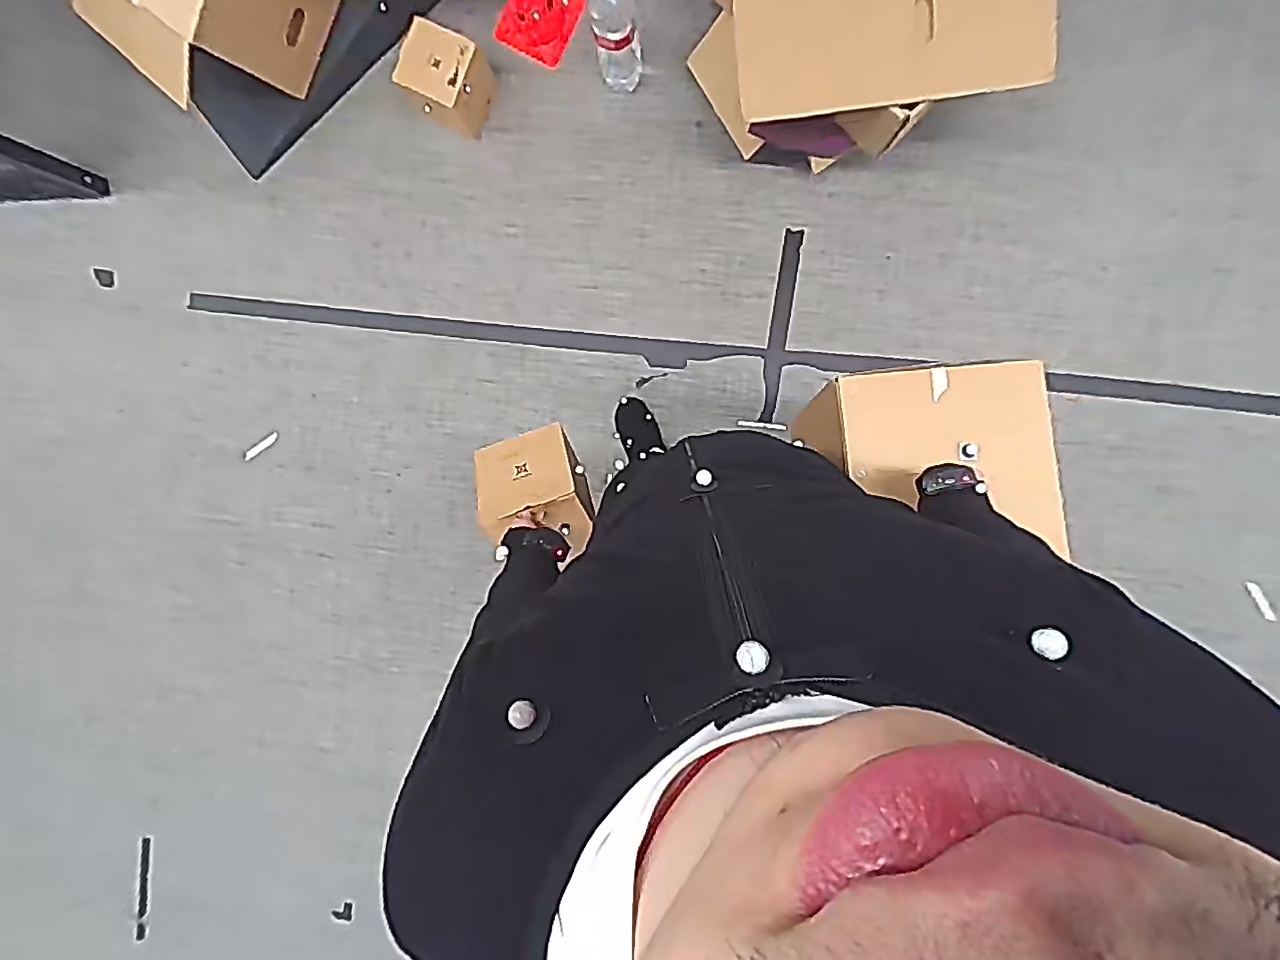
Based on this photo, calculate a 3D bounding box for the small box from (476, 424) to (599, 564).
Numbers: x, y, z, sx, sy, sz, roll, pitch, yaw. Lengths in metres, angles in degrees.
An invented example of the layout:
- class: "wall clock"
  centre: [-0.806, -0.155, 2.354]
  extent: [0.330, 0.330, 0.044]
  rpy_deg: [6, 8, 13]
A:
- class: "small box"
  centre: [-0.184, 0.034, 0.988]
  extent: [0.168, 0.176, 0.179]
  rpy_deg: [-18, 51, 1]
